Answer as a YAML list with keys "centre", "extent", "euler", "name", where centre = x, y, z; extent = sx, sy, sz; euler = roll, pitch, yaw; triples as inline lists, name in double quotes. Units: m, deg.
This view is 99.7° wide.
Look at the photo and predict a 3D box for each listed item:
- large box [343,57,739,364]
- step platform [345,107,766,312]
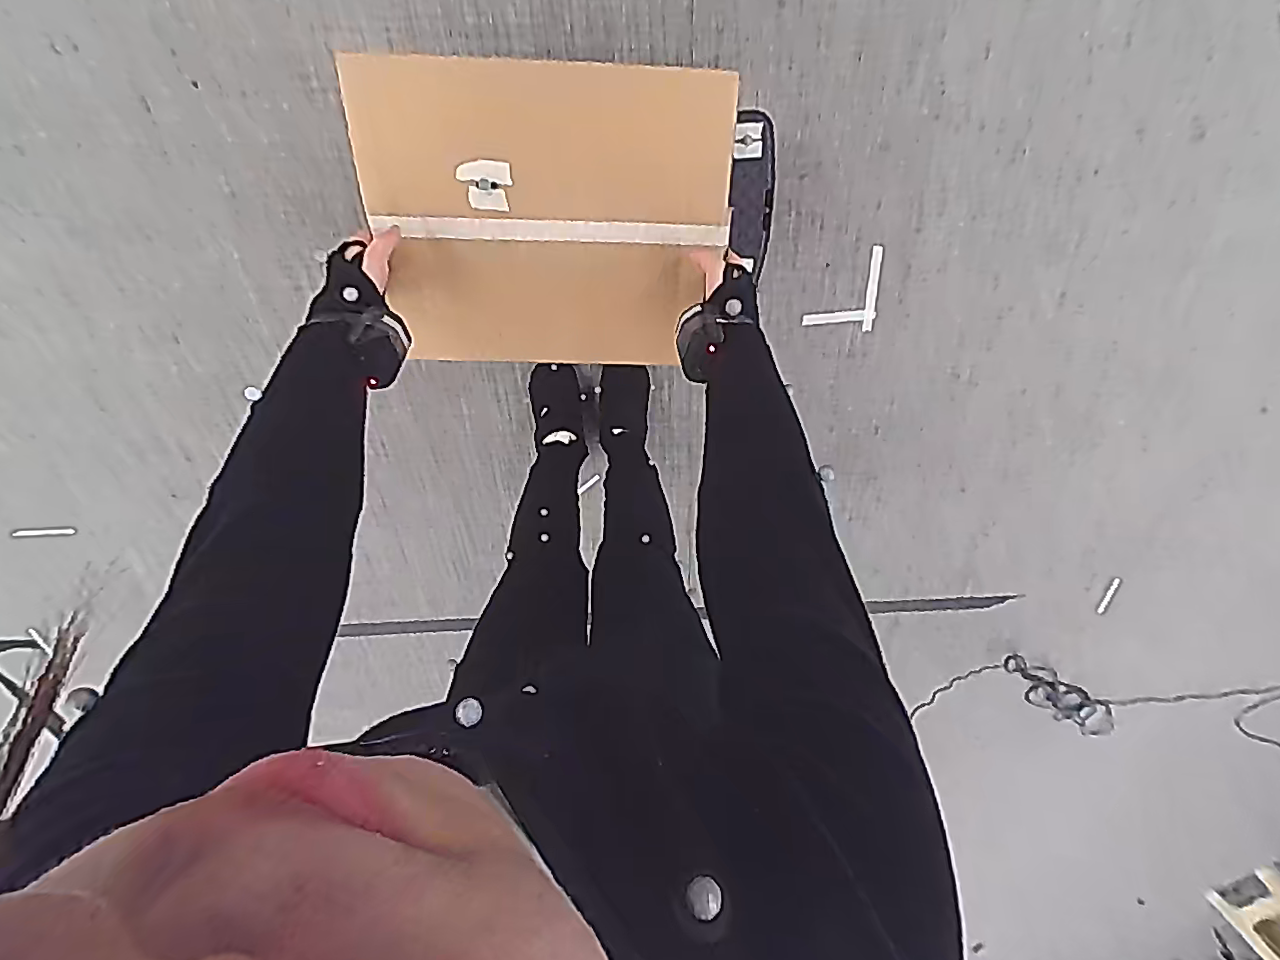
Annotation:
- centre: [-0.101, -0.359, 0.739]
  extent: [0.408, 0.320, 0.320]
  euler: [1, 120, -2]
  name: "large box"
- centre: [-0.131, -0.471, 0.950]
  extent: [0.684, 0.204, 0.286]
  euler: [3, 121, -3]
  name: "step platform"
